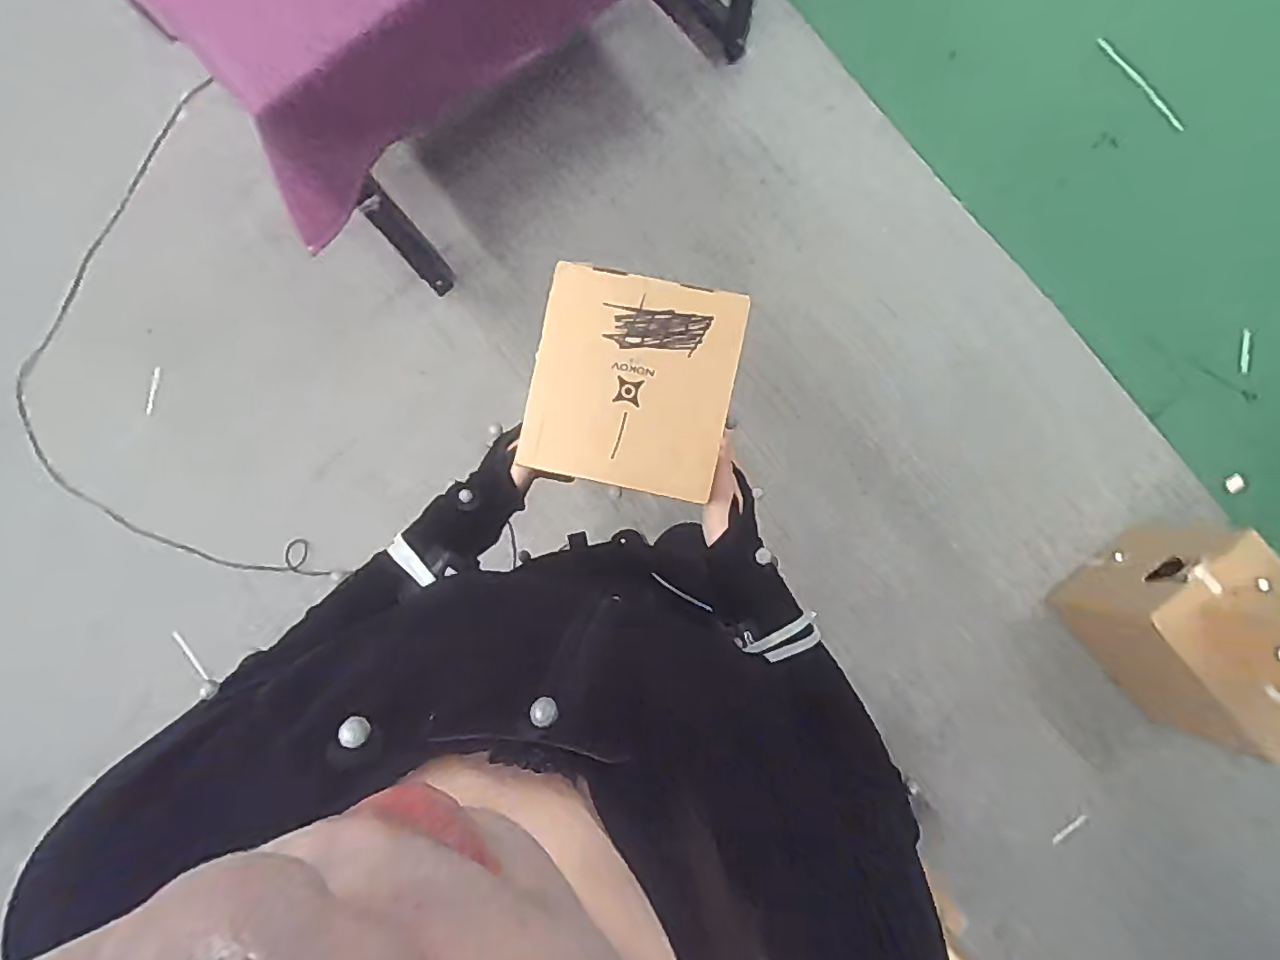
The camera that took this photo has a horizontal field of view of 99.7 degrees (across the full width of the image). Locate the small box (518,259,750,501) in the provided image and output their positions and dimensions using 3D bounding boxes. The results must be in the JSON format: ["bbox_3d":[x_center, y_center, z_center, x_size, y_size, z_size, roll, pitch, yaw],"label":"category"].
[{"bbox_3d":[-0.002,-0.084,0.527,0.168,0.176,0.179,12,91,3],"label":"small box"}]

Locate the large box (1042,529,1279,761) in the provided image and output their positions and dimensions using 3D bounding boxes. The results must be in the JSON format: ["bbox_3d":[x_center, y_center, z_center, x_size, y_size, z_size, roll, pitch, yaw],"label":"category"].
[{"bbox_3d":[1.326,0.366,1.319,0.320,0.320,0.408,-38,87,-2],"label":"large box"}]
